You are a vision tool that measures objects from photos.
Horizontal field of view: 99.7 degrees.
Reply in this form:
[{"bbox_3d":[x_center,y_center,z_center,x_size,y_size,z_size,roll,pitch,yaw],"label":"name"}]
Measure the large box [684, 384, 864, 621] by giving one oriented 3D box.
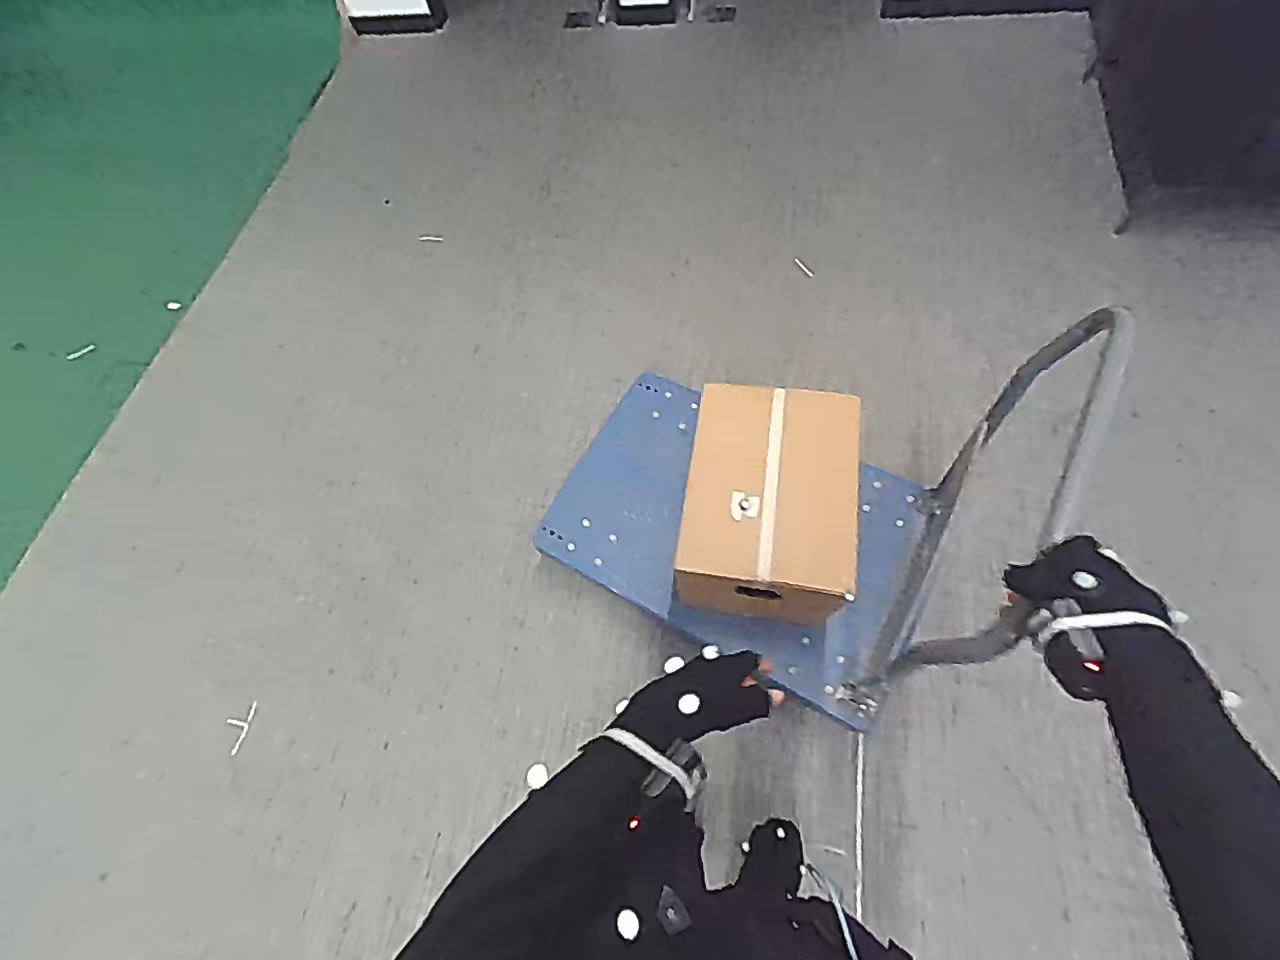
[{"bbox_3d":[0.274,0.056,1.154,0.320,0.320,0.408,7,67,10],"label":"large box"}]
